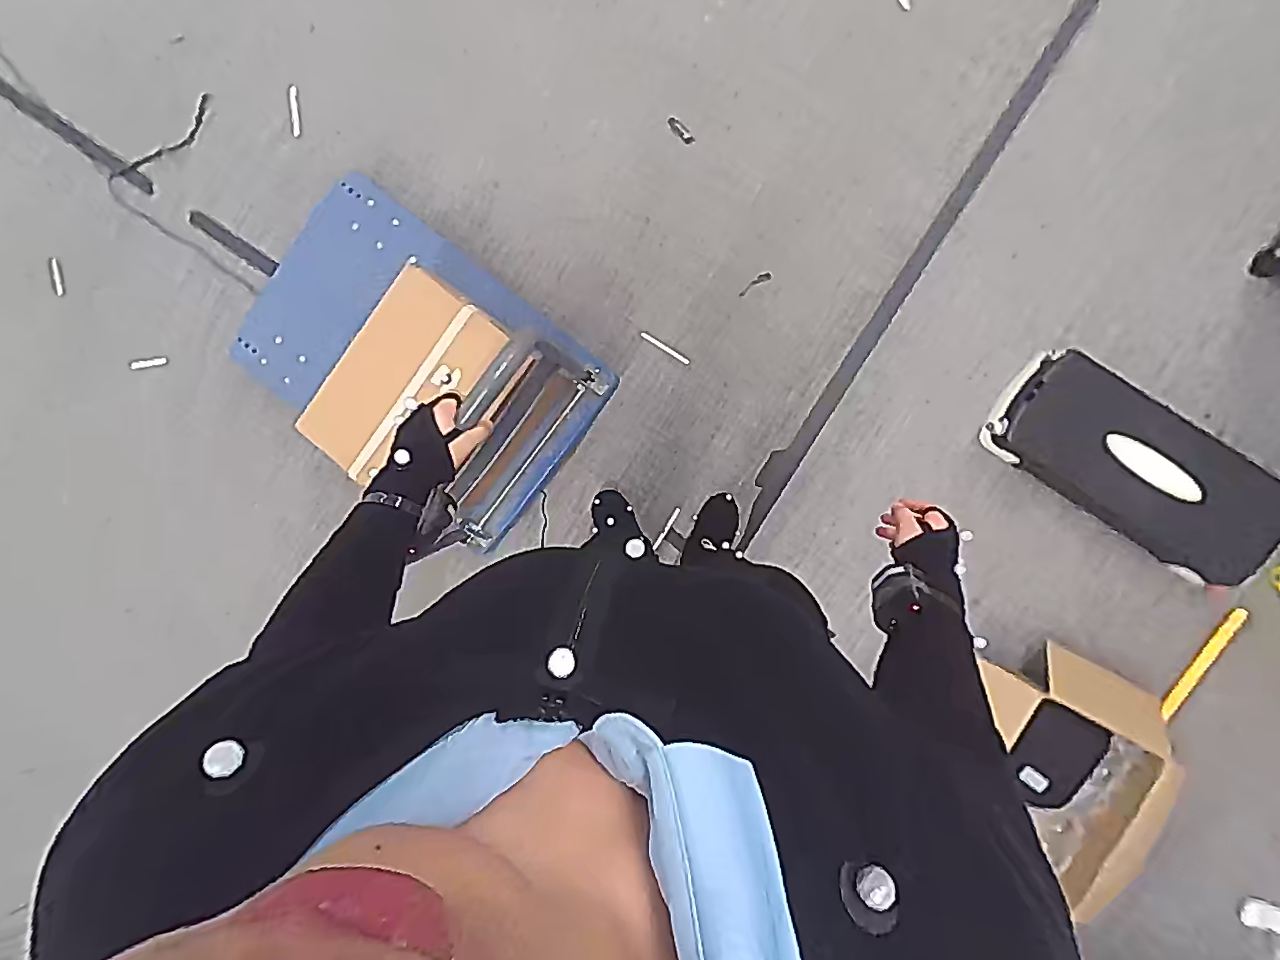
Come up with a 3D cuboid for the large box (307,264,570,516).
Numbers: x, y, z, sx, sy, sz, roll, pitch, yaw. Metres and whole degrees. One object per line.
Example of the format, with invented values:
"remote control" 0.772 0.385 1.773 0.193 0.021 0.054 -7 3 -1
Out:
"large box" -0.420 -0.177 1.204 0.320 0.320 0.408 38 95 2
